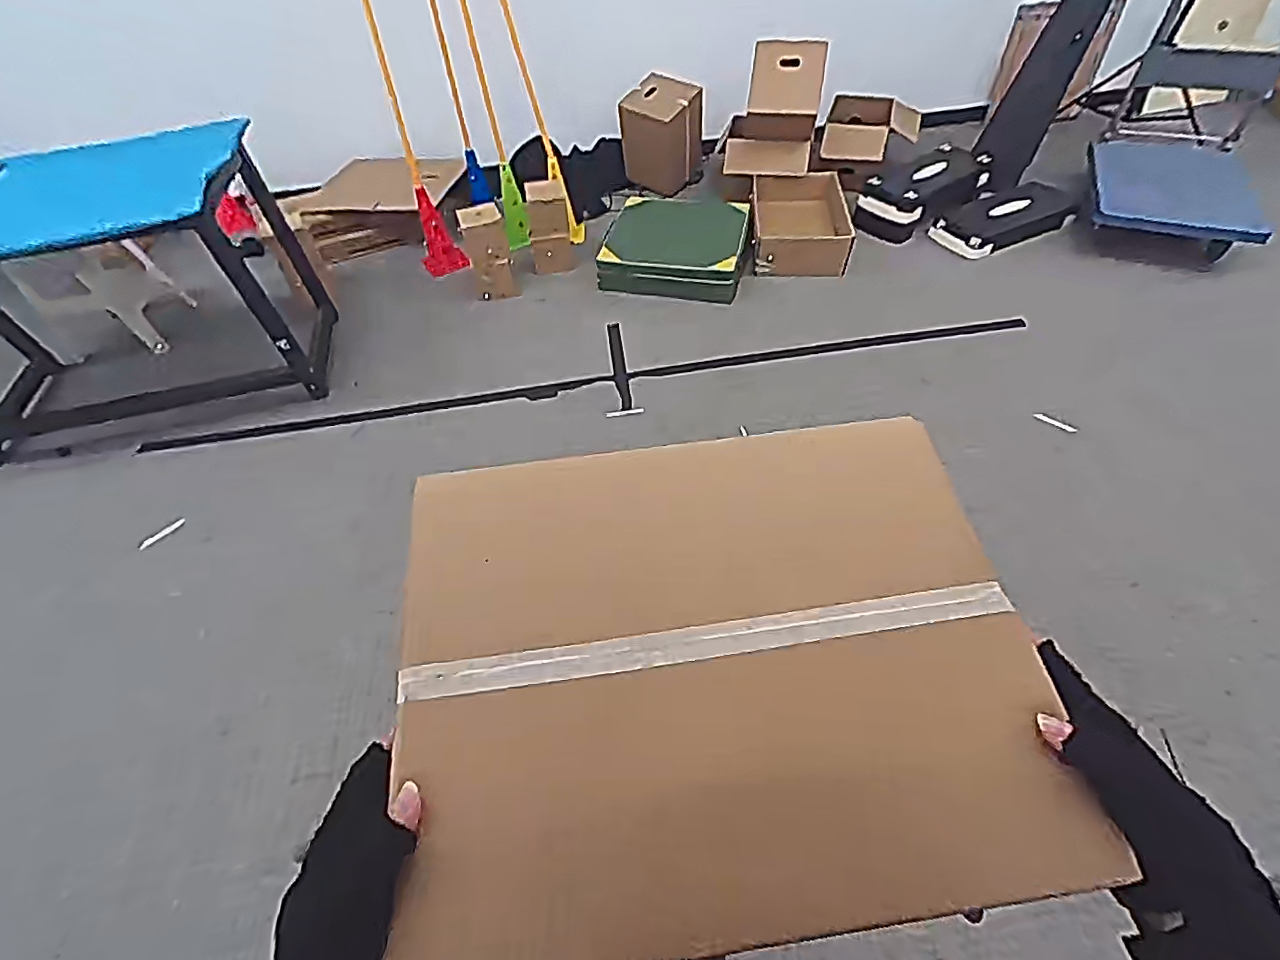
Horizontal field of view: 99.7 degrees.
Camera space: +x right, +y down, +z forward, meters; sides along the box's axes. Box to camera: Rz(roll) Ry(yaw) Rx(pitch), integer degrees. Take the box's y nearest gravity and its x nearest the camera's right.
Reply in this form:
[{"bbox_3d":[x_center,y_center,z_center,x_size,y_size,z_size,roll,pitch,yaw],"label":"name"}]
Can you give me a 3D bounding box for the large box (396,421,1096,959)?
[{"bbox_3d":[0.049,0.181,0.496,0.408,0.320,0.320,-8,60,-3],"label":"large box"}]
